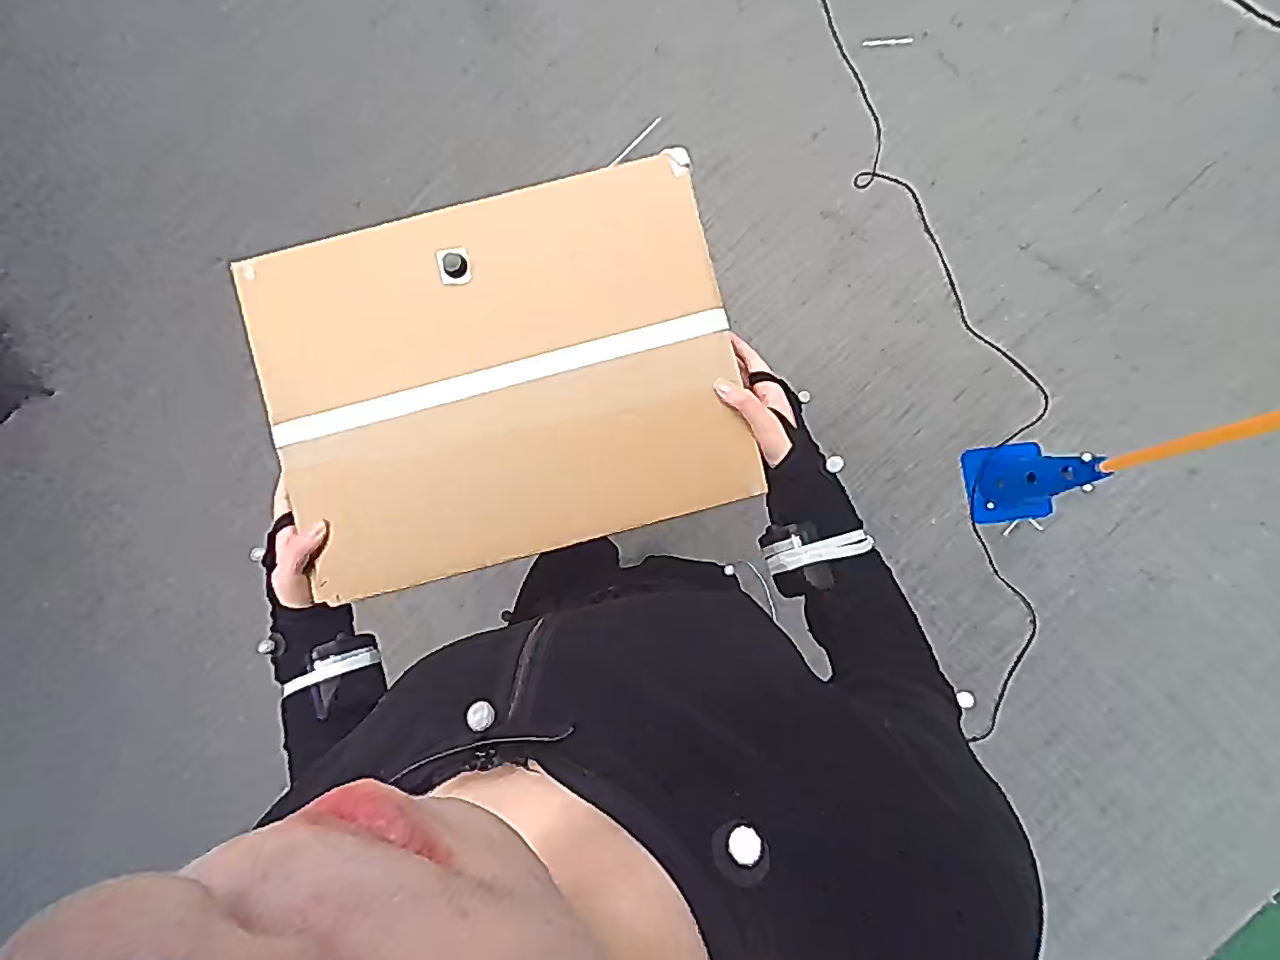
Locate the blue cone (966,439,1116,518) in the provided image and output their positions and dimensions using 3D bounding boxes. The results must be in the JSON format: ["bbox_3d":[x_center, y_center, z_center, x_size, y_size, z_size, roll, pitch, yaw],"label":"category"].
[{"bbox_3d":[0.945,-0.017,1.242,0.192,0.380,0.193,-10,85,6],"label":"blue cone"}]
